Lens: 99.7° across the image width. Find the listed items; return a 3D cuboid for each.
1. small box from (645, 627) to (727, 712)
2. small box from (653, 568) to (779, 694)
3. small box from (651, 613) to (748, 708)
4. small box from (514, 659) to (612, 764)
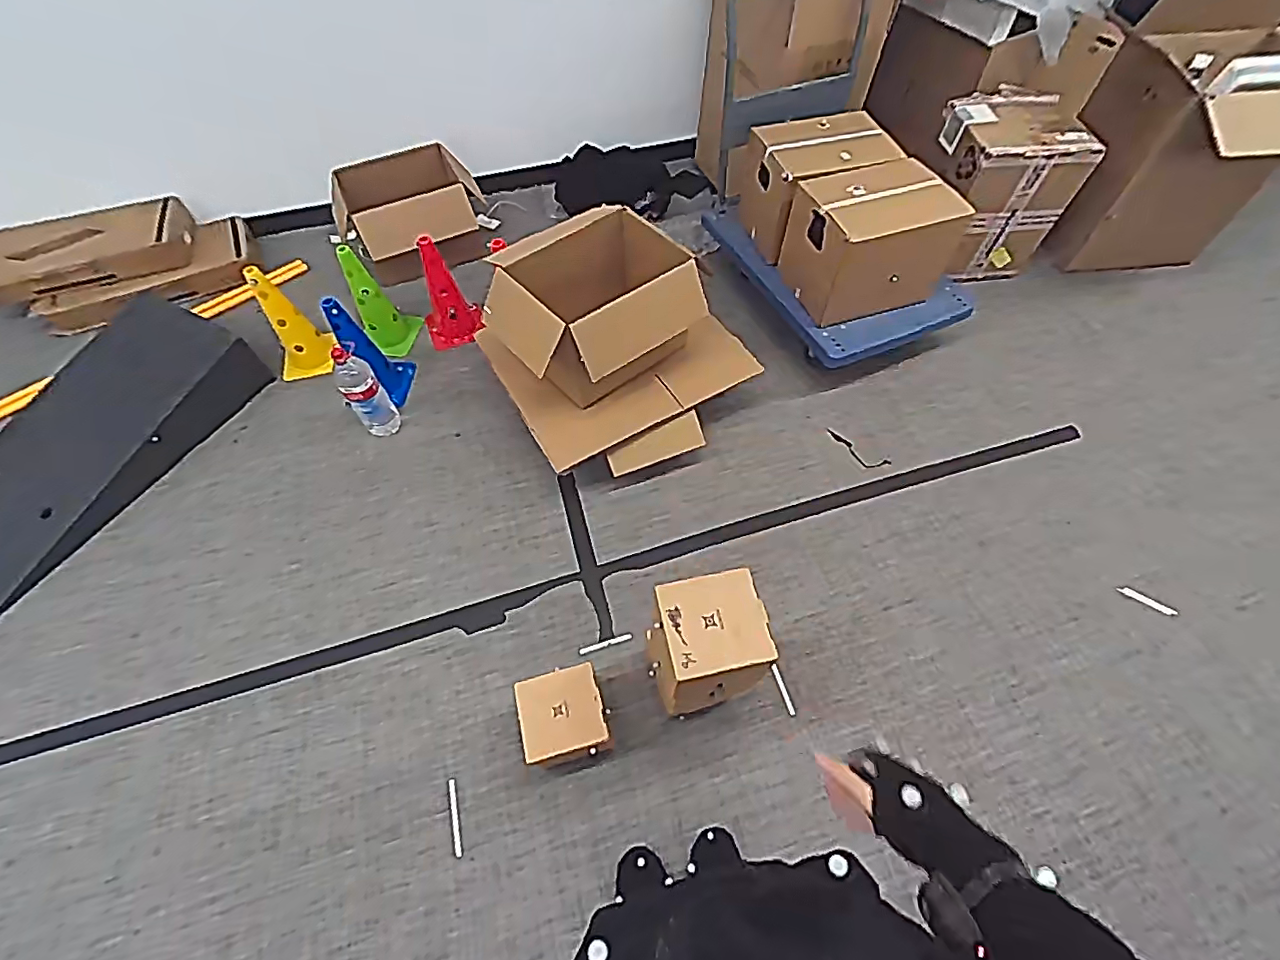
[{"bbox_3d":[0.115,0.431,1.270,0.168,0.176,0.179,-15,59,-9],"label":"small box"},{"bbox_3d":[0.126,0.277,0.980,0.179,0.176,0.168,-9,60,-7],"label":"small box"},{"bbox_3d":[0.125,0.359,1.122,0.179,0.176,0.168,-13,60,-8],"label":"small box"},{"bbox_3d":[-0.169,0.524,1.216,0.179,0.176,0.168,-14,60,-9],"label":"small box"}]
